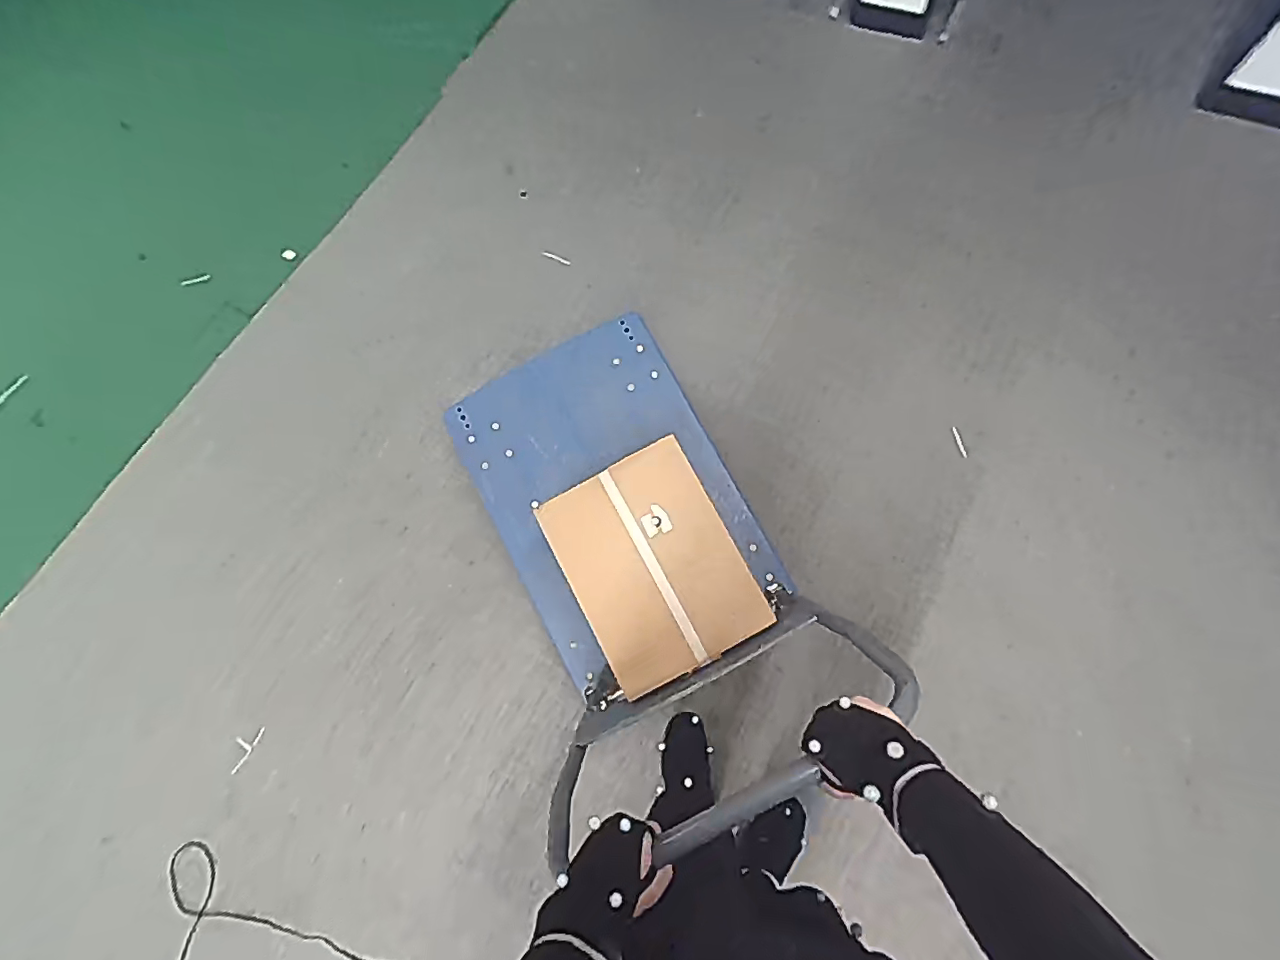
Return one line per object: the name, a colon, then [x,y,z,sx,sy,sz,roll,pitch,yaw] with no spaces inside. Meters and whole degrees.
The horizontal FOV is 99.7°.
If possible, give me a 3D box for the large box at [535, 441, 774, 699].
large box: [0.033,0.186,1.170,0.320,0.320,0.408,-29,80,-2]
